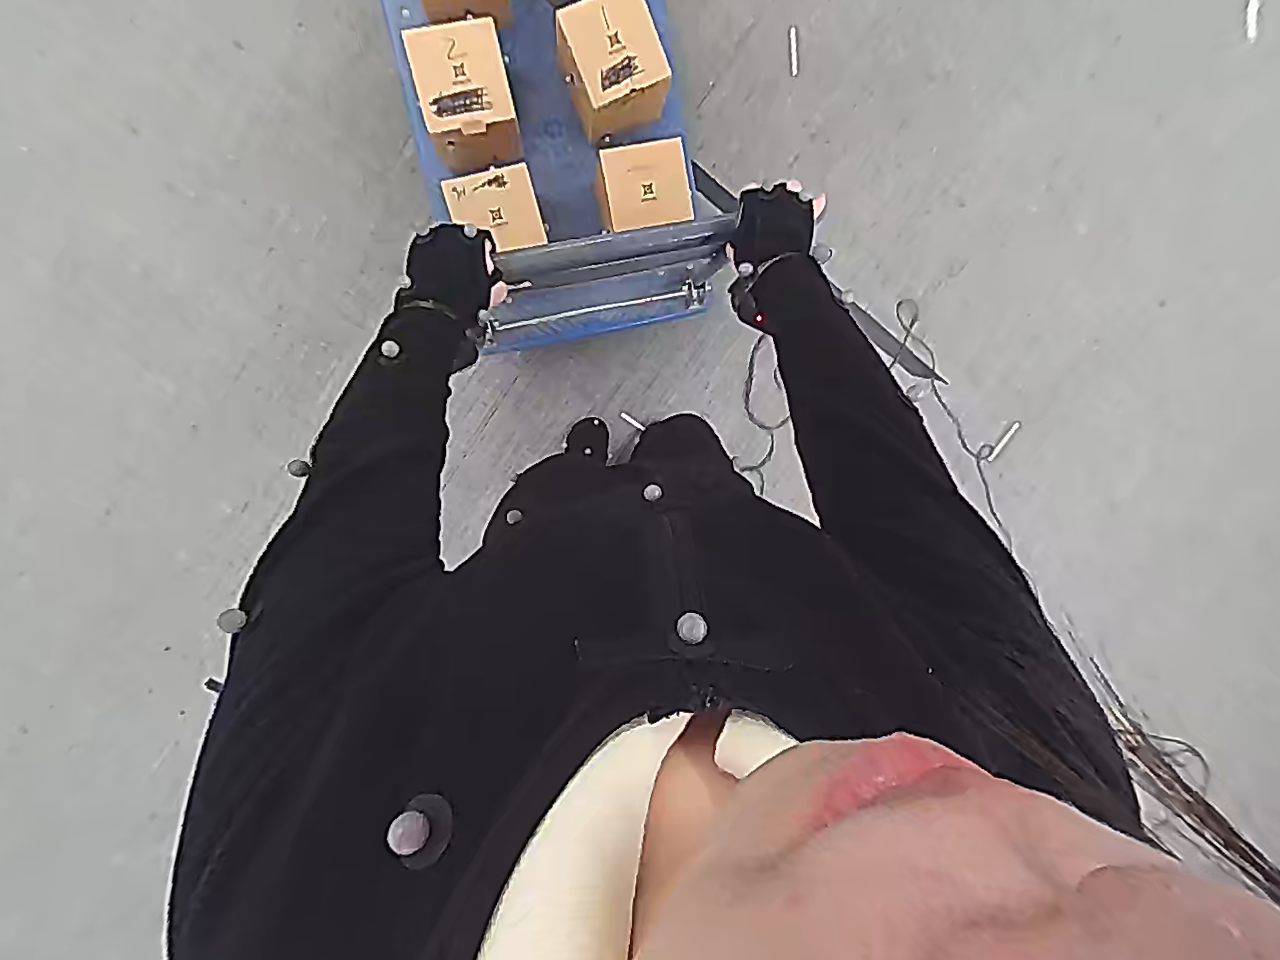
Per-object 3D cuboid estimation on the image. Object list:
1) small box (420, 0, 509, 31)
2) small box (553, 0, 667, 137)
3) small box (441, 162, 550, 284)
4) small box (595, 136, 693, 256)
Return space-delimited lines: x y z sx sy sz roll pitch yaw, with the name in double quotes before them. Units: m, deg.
"small box" -0.351 -0.998 1.015 0.168 0.176 0.179 -11 102 -6
"small box" -0.062 -0.827 1.085 0.168 0.176 0.179 -25 101 -3
"small box" -0.285 -0.512 1.107 0.168 0.176 0.179 -16 102 -6
"small box" 0.003 -0.583 1.136 0.168 0.176 0.179 -12 100 -6
